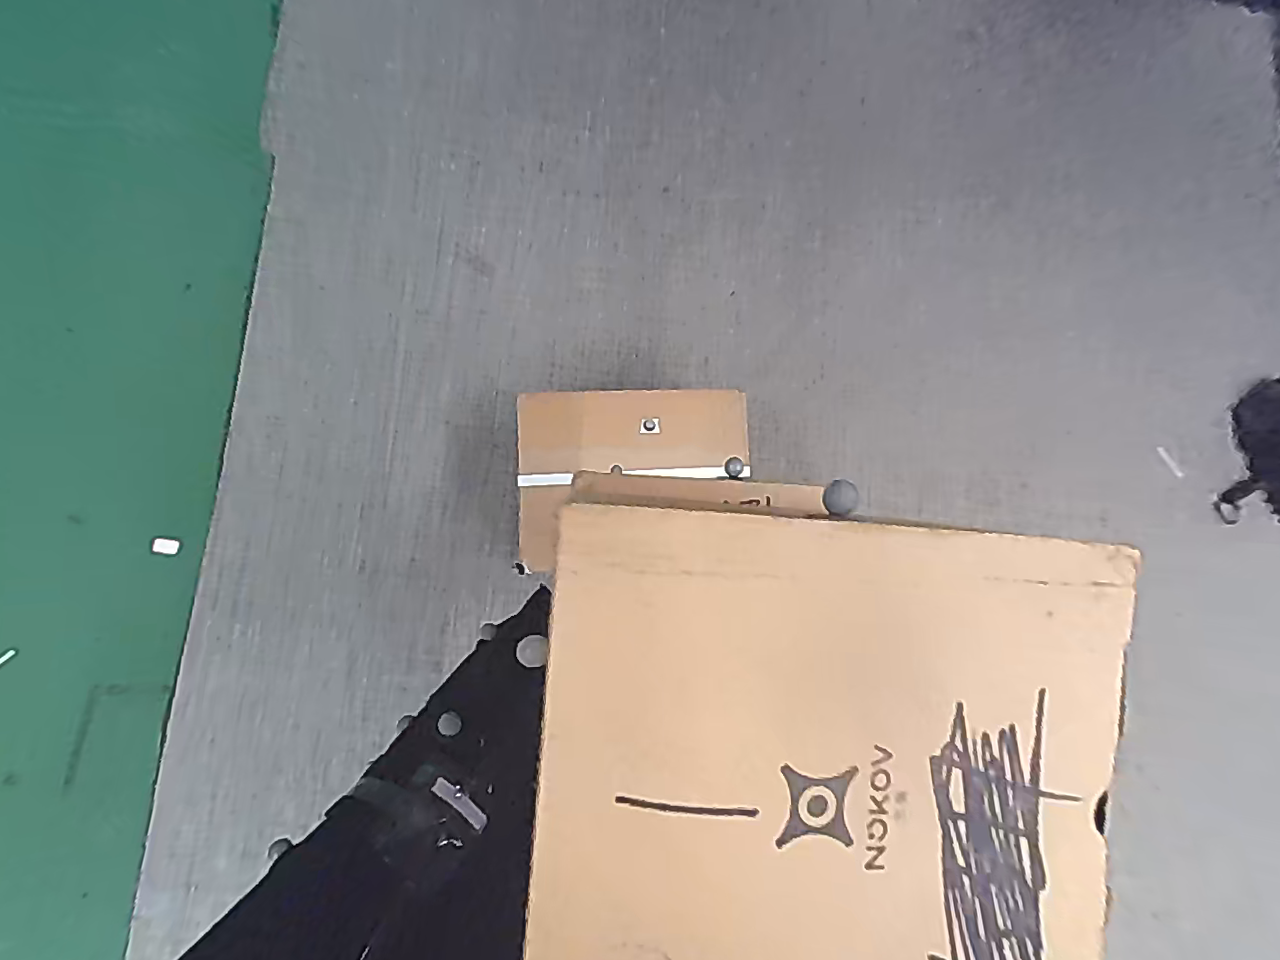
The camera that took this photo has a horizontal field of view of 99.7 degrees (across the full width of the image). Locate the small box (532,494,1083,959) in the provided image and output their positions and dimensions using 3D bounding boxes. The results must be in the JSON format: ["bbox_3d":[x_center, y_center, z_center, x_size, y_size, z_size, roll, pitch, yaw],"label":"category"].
[{"bbox_3d":[0.049,0.095,0.252,0.179,0.176,0.168,5,88,-6],"label":"small box"}]

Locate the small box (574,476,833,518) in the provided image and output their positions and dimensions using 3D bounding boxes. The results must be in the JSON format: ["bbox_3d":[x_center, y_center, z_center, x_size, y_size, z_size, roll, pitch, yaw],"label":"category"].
[{"bbox_3d":[0.029,0.089,0.416,0.168,0.176,0.179,3,89,-7],"label":"small box"}]
